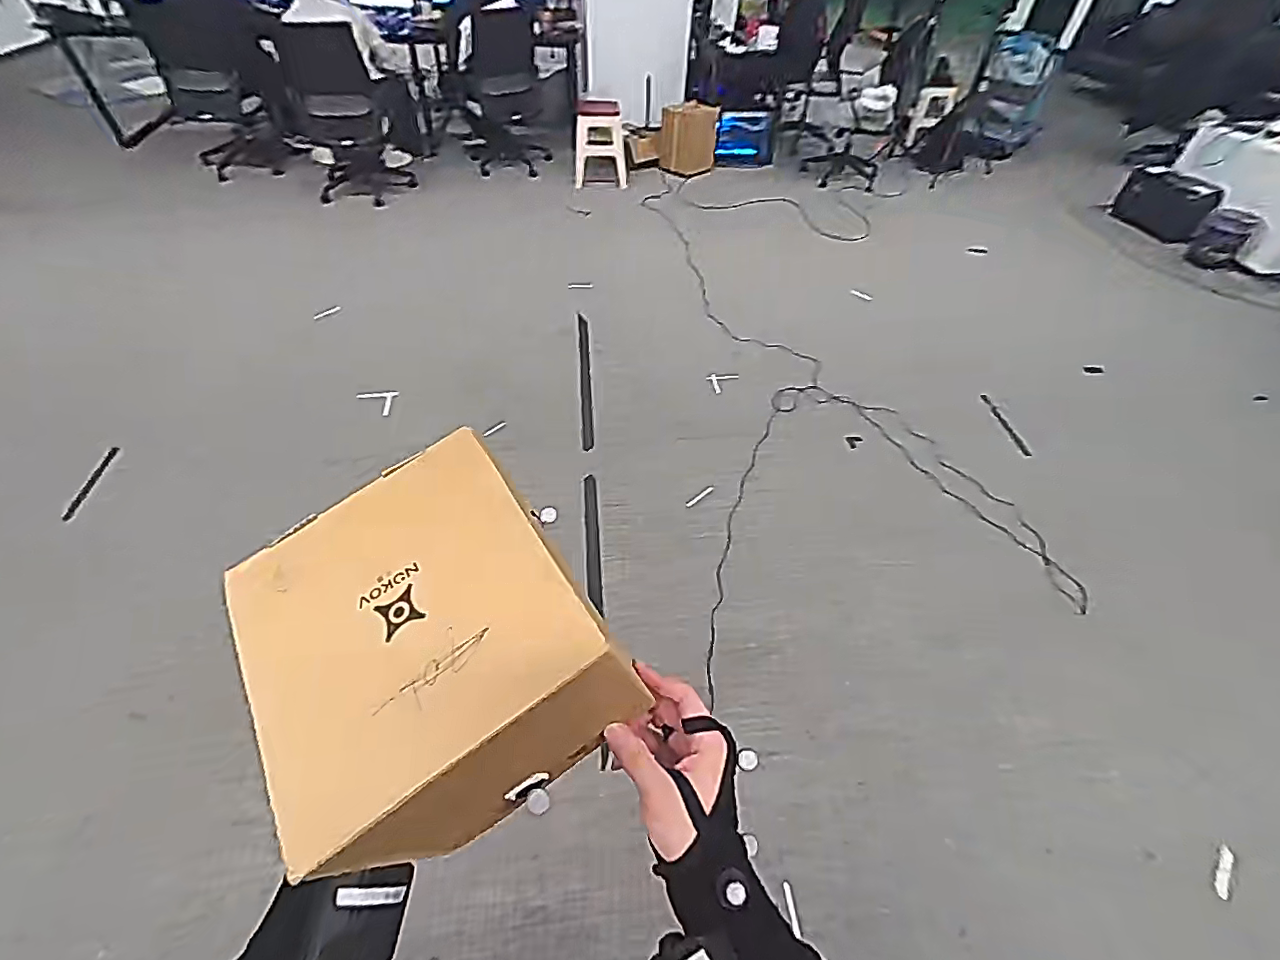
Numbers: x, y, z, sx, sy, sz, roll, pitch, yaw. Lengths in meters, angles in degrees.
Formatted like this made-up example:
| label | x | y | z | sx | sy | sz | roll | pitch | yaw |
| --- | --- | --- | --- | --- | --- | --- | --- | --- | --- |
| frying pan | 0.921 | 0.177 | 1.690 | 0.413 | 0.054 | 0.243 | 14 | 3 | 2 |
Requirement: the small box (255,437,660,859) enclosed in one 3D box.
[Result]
| label | x | y | z | sx | sy | sz | roll | pitch | yaw |
| --- | --- | --- | --- | --- | --- | --- | --- | --- | --- |
| small box | -0.105 | 0.112 | 0.363 | 0.168 | 0.176 | 0.179 | -35 | 60 | -10 |
